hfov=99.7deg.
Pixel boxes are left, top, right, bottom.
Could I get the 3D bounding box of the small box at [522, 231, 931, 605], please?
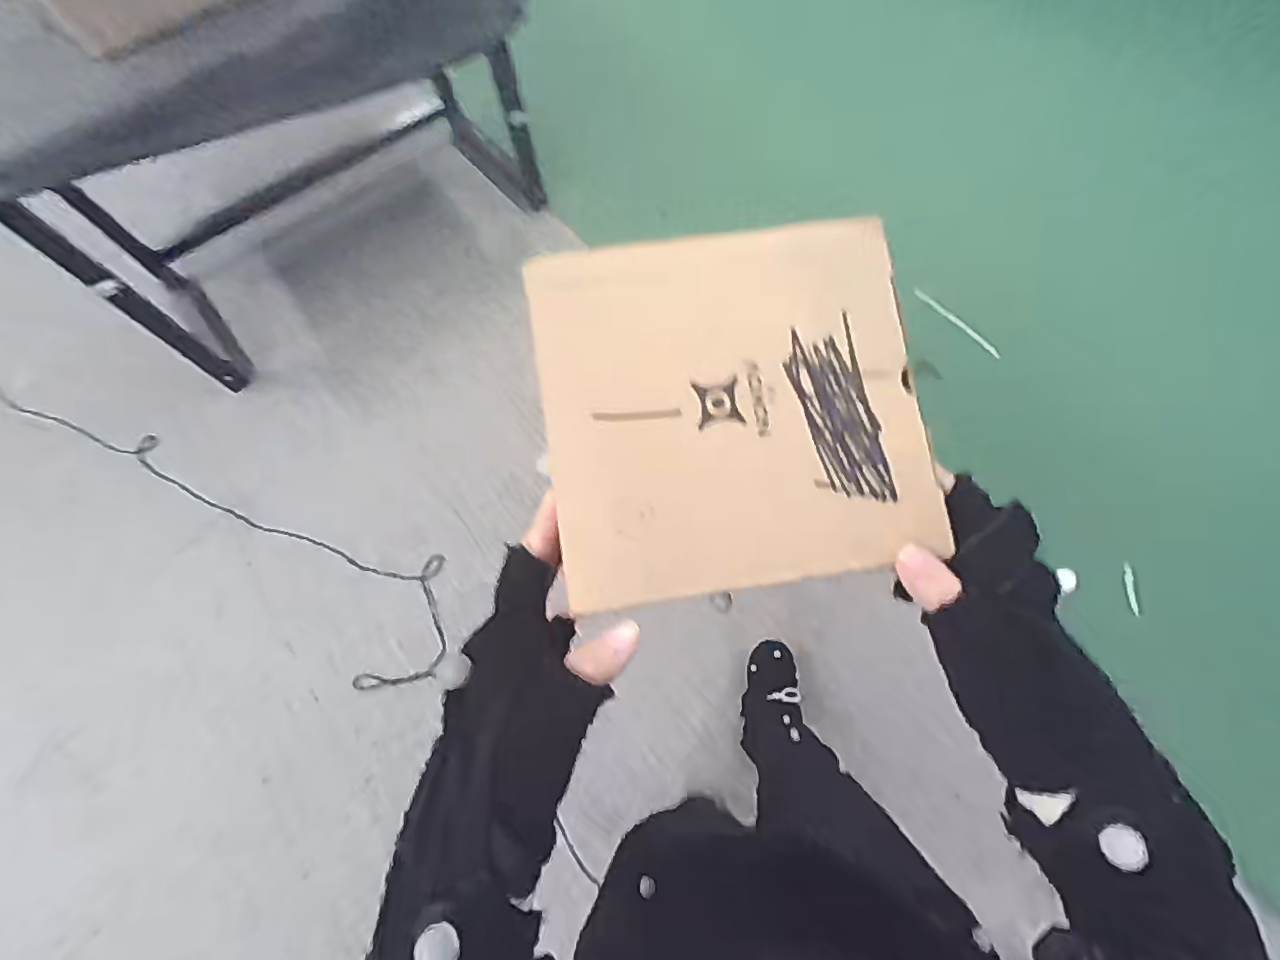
[{"bbox_3d":[0.034,-0.022,0.330,0.179,0.176,0.168,-7,81,-4],"label":"small box"}]
